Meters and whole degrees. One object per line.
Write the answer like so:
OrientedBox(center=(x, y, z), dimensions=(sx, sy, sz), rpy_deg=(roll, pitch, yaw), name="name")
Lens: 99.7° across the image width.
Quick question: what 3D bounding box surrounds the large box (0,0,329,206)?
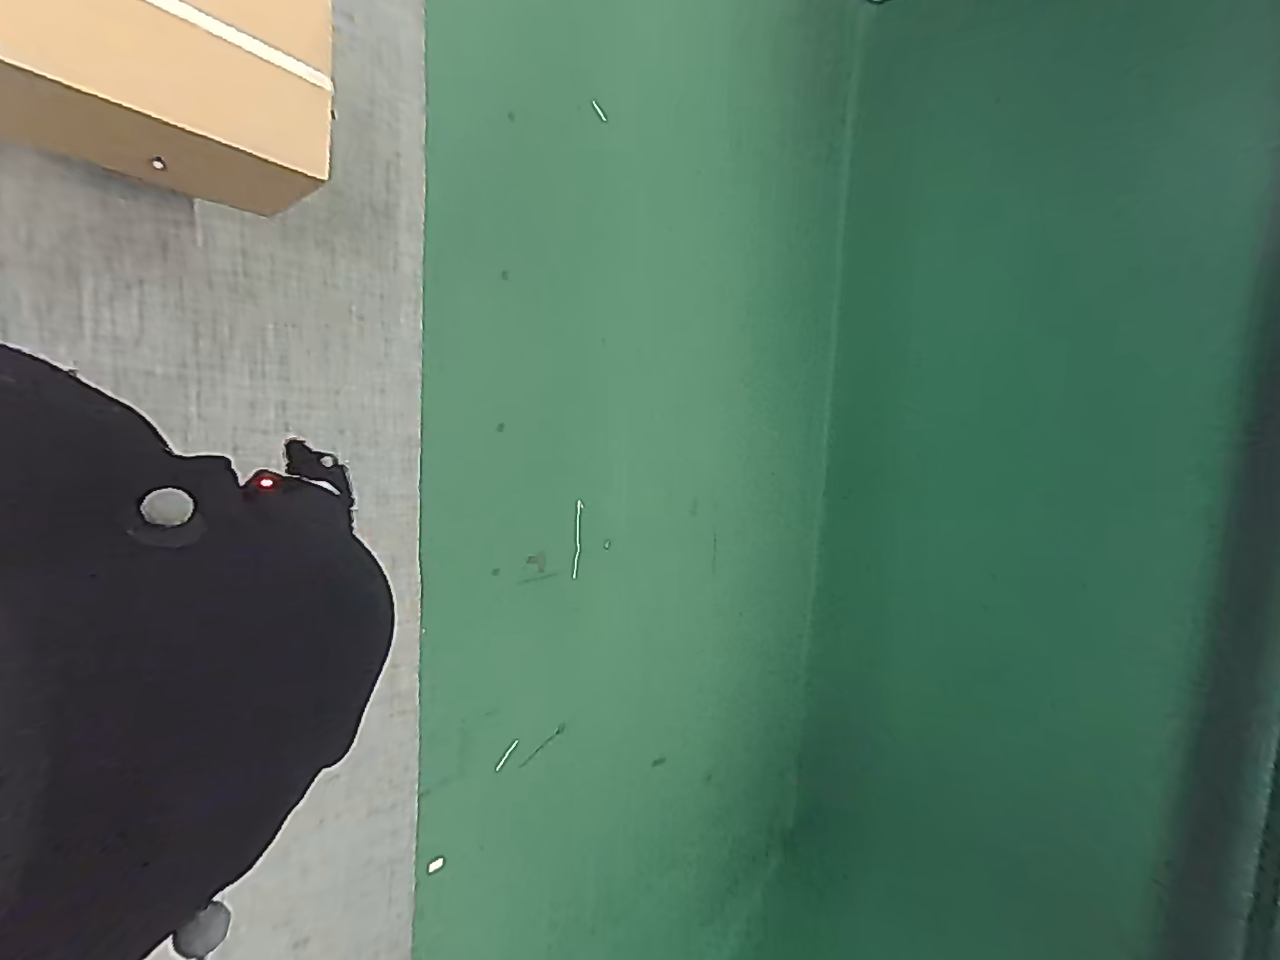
OrientedBox(center=(-0.778, -0.695, 0.876), dimensions=(0.408, 0.320, 0.320), rpy_deg=(-1, 97, -50), name="large box")
